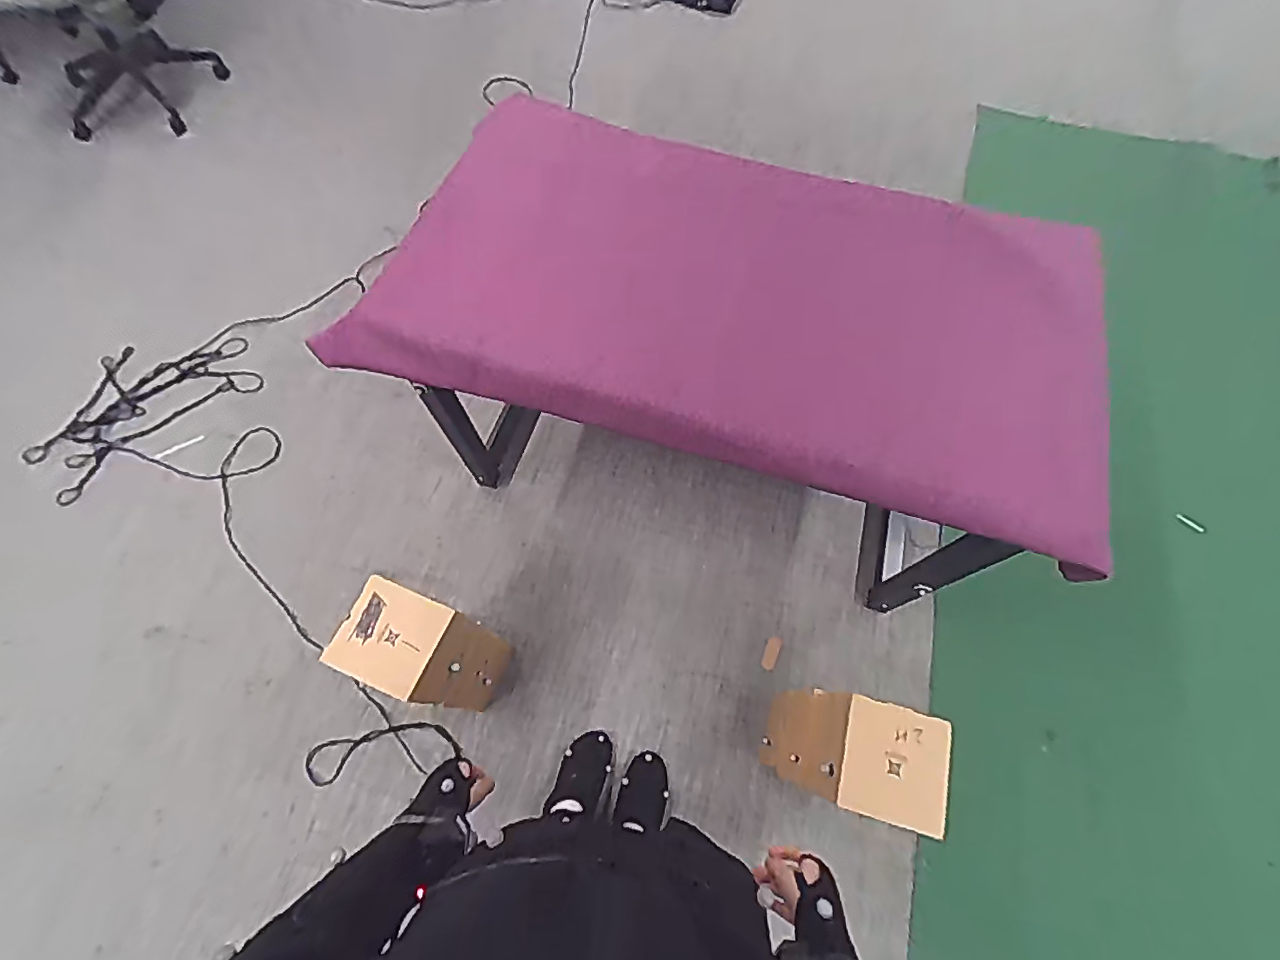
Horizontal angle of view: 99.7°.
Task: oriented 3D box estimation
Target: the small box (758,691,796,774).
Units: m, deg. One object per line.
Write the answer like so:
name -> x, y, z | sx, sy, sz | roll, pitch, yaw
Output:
small box -> 0.383, 0.601, 1.239 | 0.179, 0.176, 0.168 | 18, 67, 7

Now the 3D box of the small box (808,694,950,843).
small box -> 0.402, 0.485, 0.934 | 0.168, 0.176, 0.179 | 16, 68, 6

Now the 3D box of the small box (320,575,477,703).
small box -> -0.434, 0.302, 1.002 | 0.179, 0.176, 0.168 | 22, 67, 8

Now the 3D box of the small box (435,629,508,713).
small box -> -0.436, 0.443, 1.300 | 0.168, 0.176, 0.179 | 20, 68, 8

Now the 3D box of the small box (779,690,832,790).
small box -> 0.390, 0.539, 1.090 | 0.168, 0.176, 0.179 | 15, 68, 6
